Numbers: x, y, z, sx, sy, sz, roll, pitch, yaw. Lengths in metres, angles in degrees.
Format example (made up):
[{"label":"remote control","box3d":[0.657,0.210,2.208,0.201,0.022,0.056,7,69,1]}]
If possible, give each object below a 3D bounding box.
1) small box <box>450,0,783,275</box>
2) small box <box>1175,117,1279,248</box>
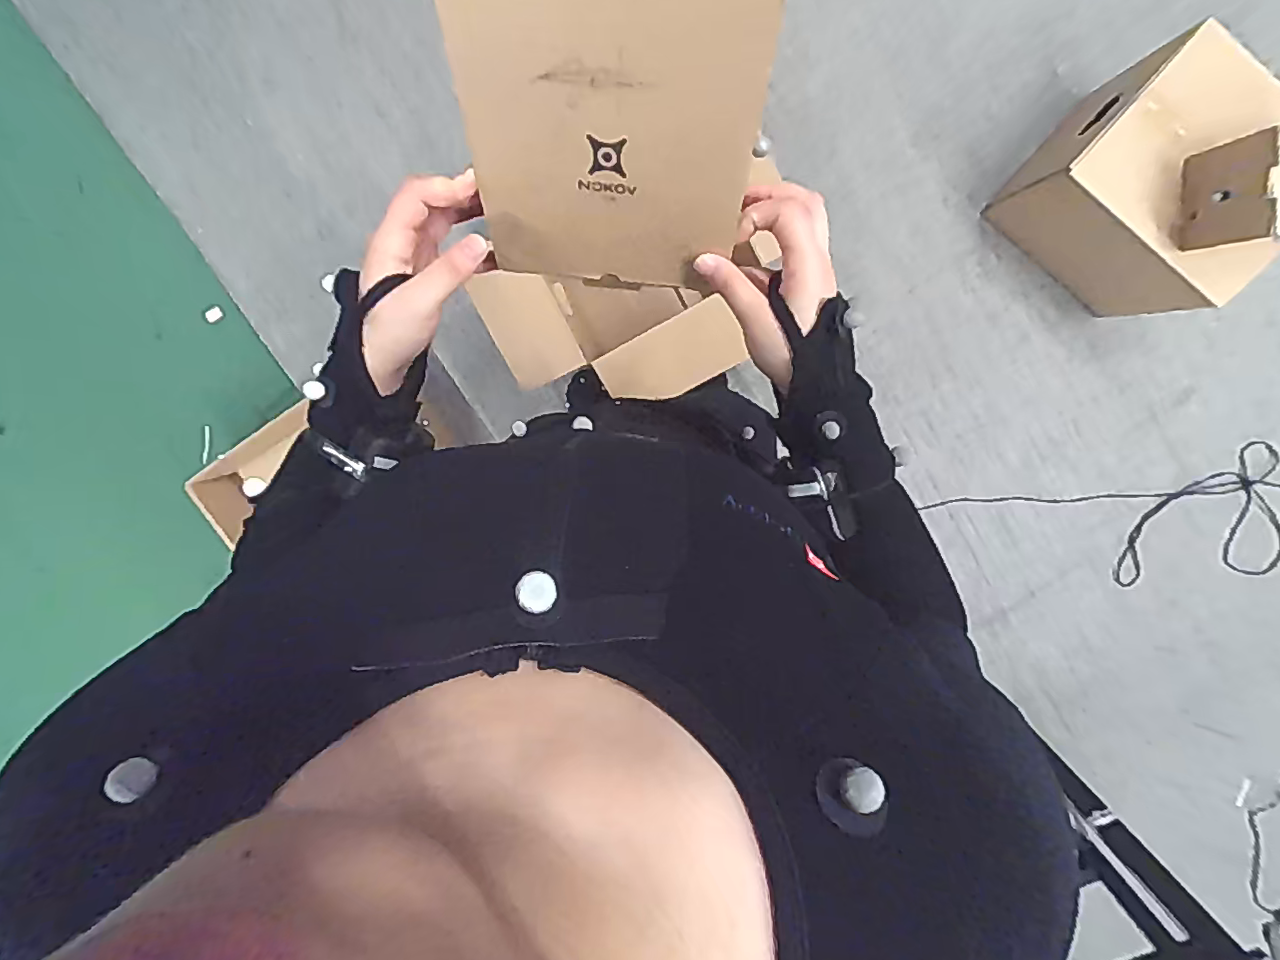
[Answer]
[{"label":"small box","box3d":[-0.007,-0.270,0.358,0.168,0.179,0.176,6,60,1]},{"label":"small box","box3d":[1.066,-0.507,0.914,0.179,0.176,0.168,-10,103,8]}]
